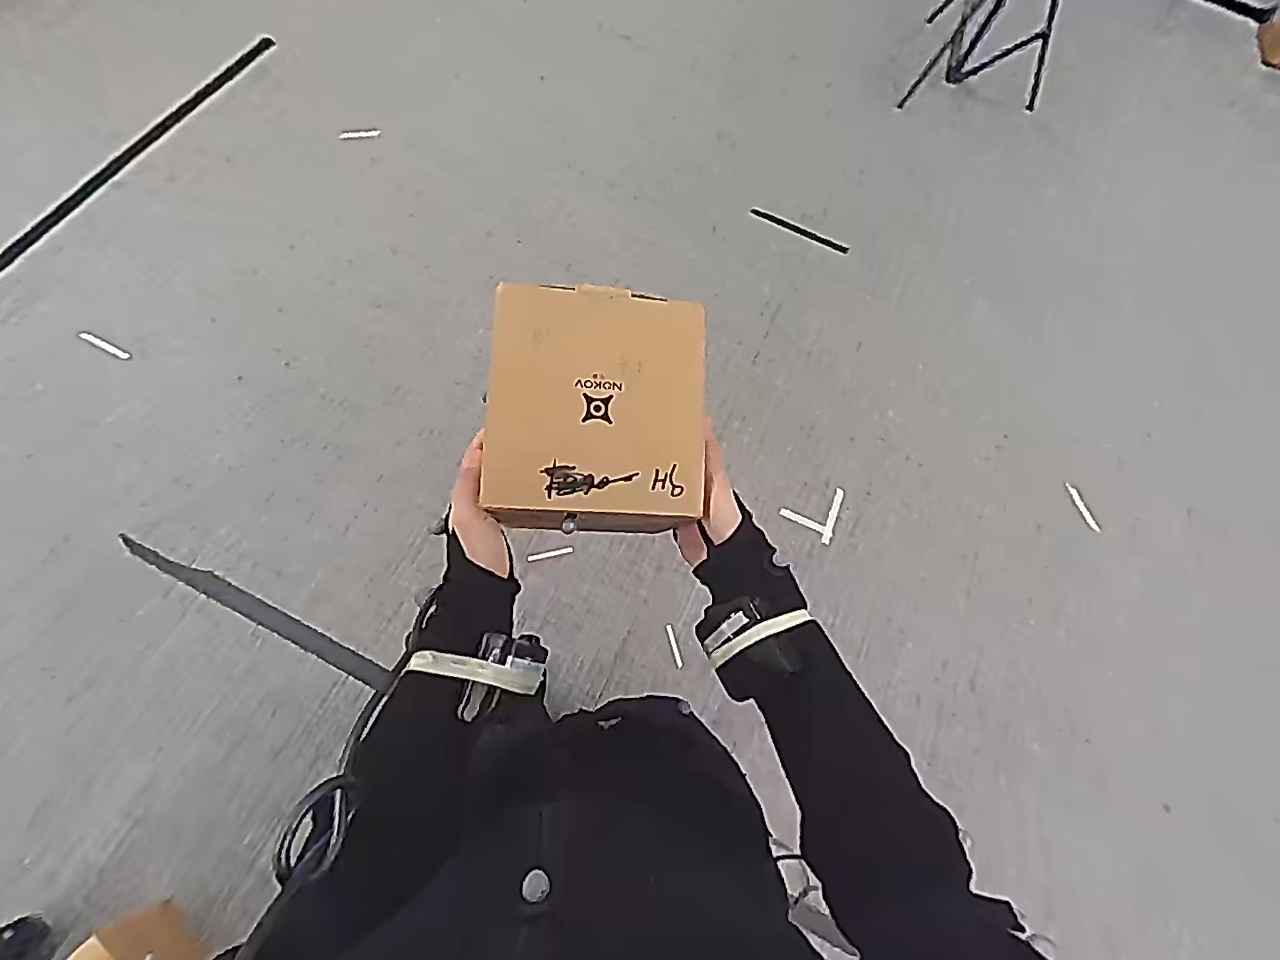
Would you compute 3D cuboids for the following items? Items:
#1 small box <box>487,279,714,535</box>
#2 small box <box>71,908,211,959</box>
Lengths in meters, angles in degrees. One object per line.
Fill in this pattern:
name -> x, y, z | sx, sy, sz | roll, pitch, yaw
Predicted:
small box -> -0.038, -0.049, 0.485 | 0.168, 0.176, 0.179 | 4, 80, -9
small box -> -0.953, 0.937, 0.989 | 0.179, 0.176, 0.168 | 42, 71, 8
